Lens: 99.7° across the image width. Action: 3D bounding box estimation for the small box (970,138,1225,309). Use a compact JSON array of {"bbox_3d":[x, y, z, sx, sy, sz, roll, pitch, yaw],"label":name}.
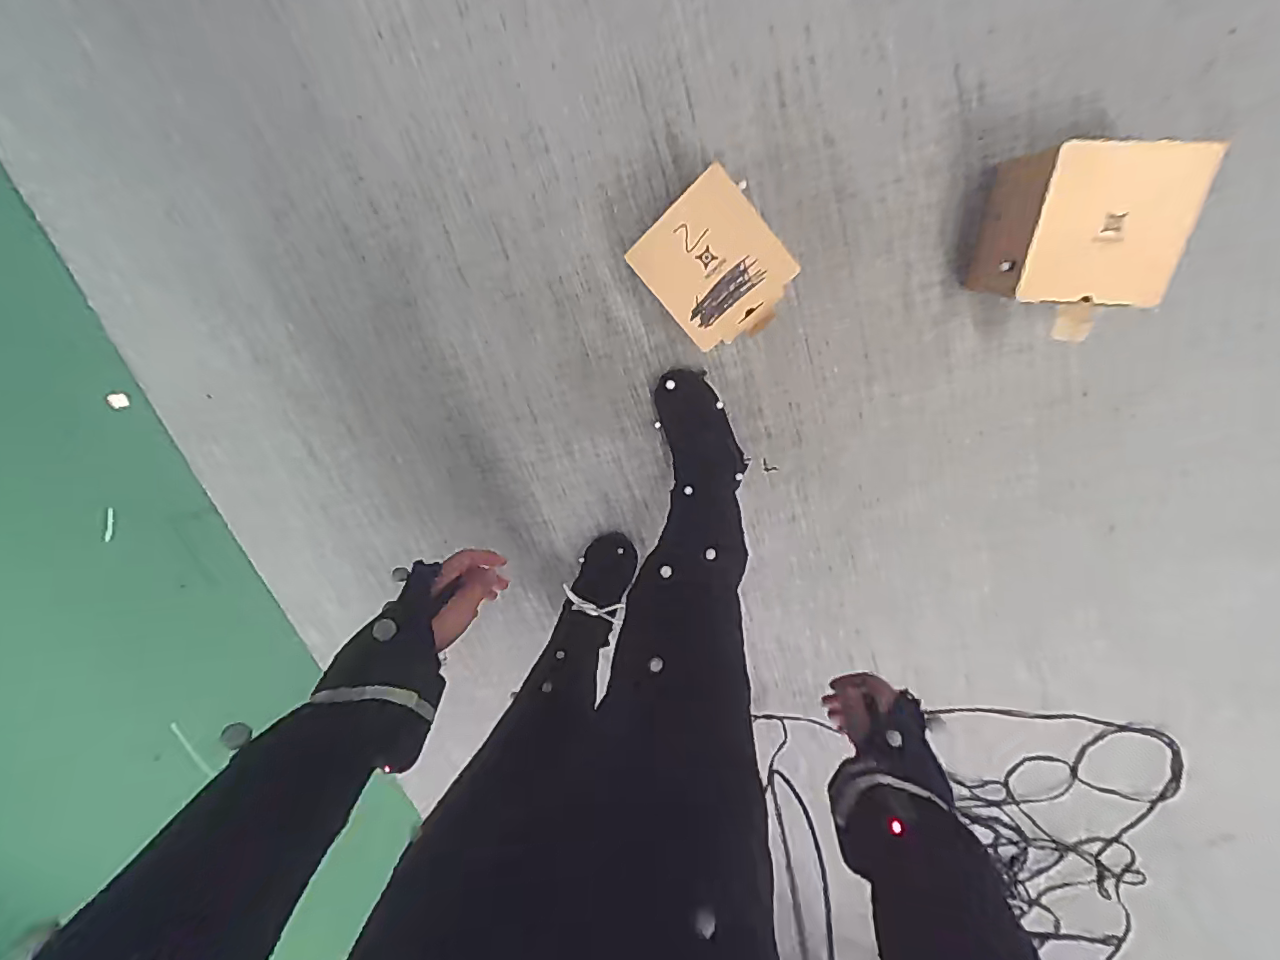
[{"bbox_3d":[0.560,-0.324,0.697,0.168,0.176,0.179,5,115,8],"label":"small box"}]
